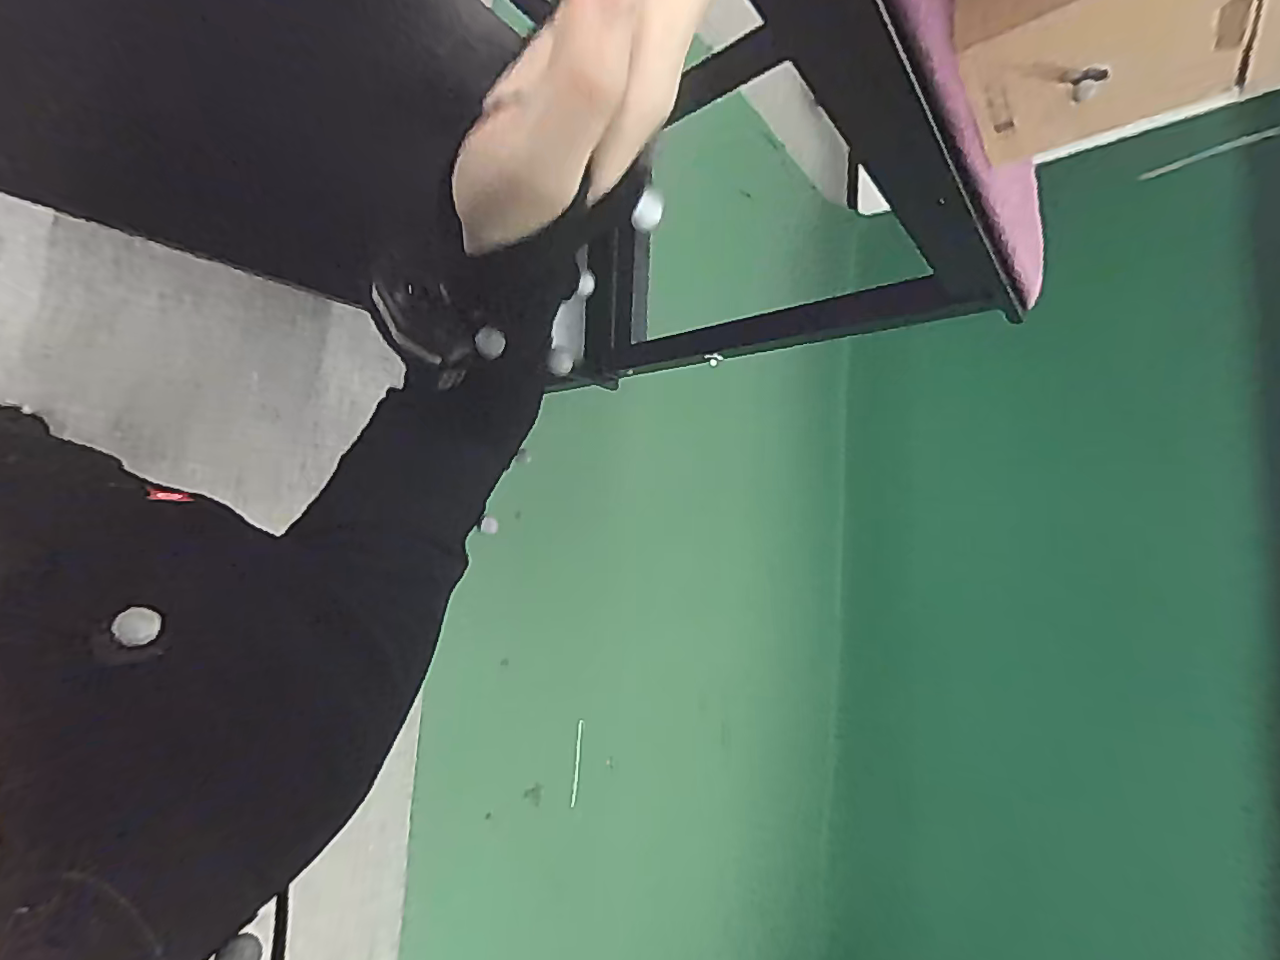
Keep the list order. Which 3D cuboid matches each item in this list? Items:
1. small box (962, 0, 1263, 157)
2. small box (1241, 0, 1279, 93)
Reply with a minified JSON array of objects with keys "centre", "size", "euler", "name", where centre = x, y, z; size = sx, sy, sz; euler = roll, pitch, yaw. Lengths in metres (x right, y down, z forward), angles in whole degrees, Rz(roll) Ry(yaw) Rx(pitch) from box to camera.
[{"centre":[0.364,-0.399,0.424],"size":[0.168,0.176,0.179],"euler":[10,84,-49],"name":"small box"},{"centre":[0.493,-0.394,0.324],"size":[0.168,0.176,0.179],"euler":[13,82,-47],"name":"small box"}]
